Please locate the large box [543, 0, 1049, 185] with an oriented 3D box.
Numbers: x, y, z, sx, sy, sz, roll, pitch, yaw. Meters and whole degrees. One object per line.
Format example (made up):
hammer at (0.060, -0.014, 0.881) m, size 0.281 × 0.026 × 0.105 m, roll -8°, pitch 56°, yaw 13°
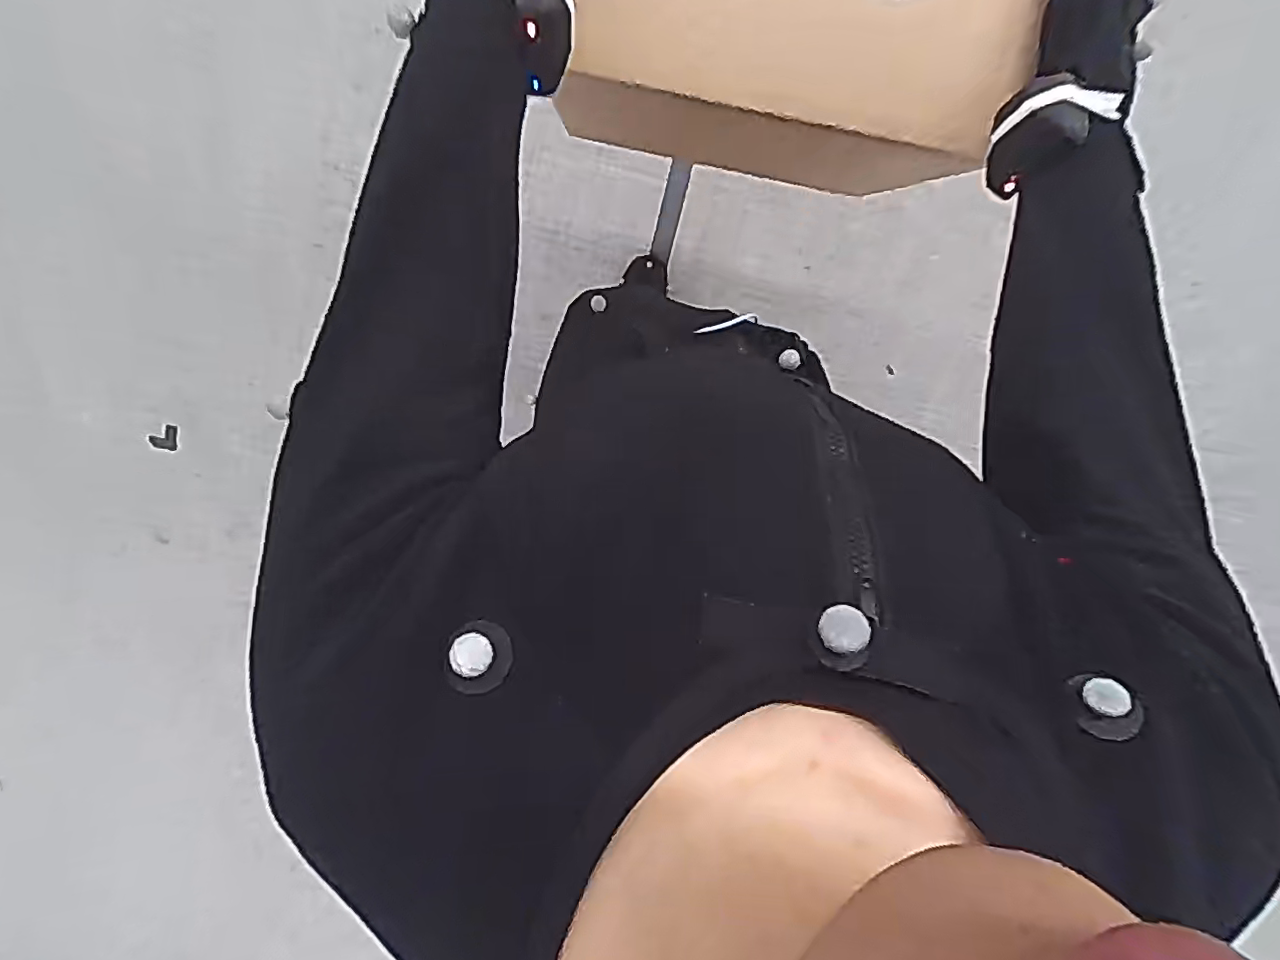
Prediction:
large box at (0.132, -0.511, 0.531) m, size 0.408 × 0.320 × 0.320 m, roll 8°, pitch 113°, yaw -6°
